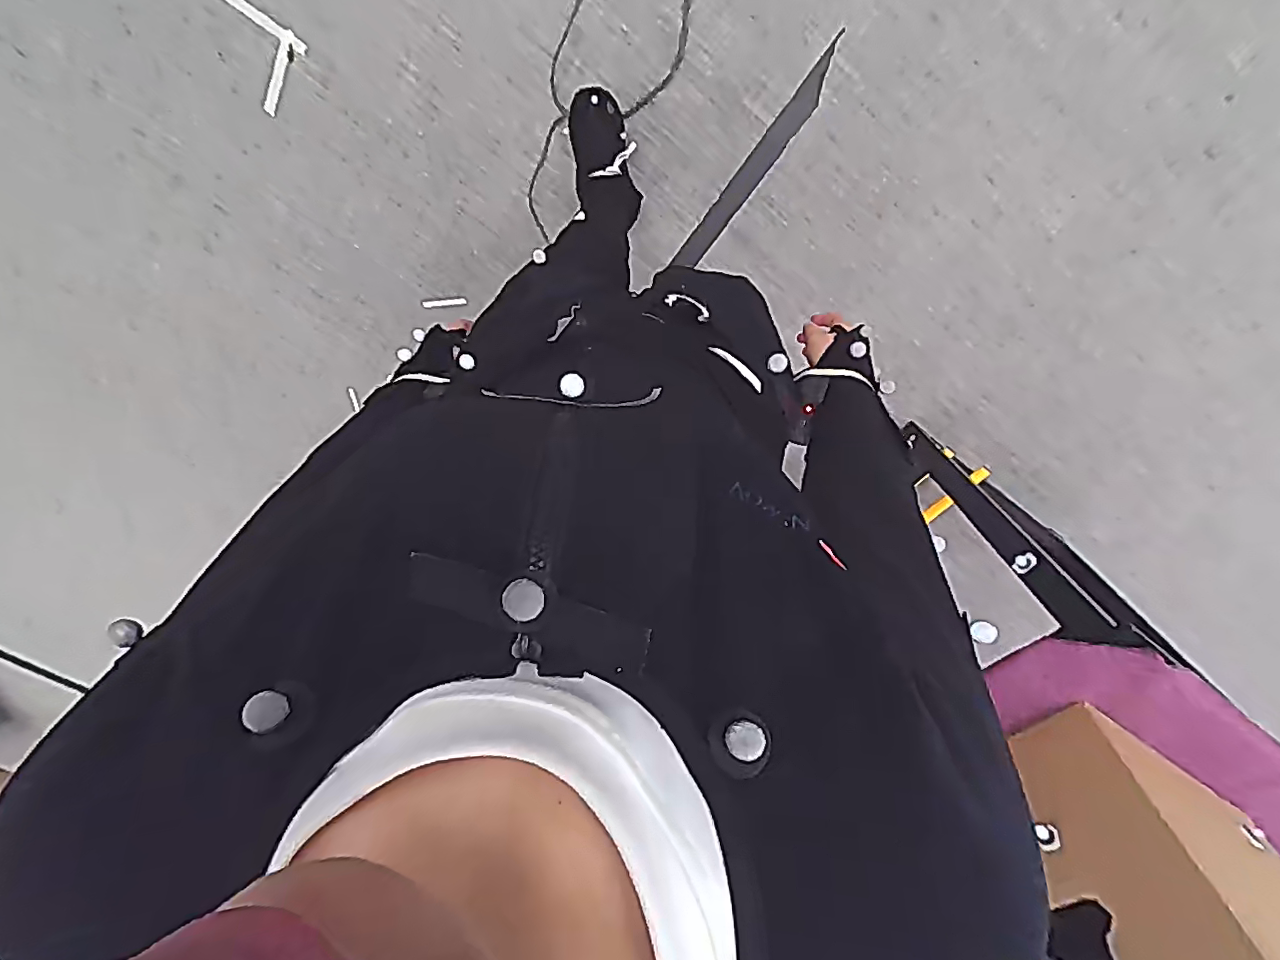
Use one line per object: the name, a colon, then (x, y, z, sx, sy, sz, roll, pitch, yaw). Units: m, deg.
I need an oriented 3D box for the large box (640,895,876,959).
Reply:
large box: (0.240, 1.064, 1.014, 0.408, 0.320, 0.320, 33, 116, -15)
